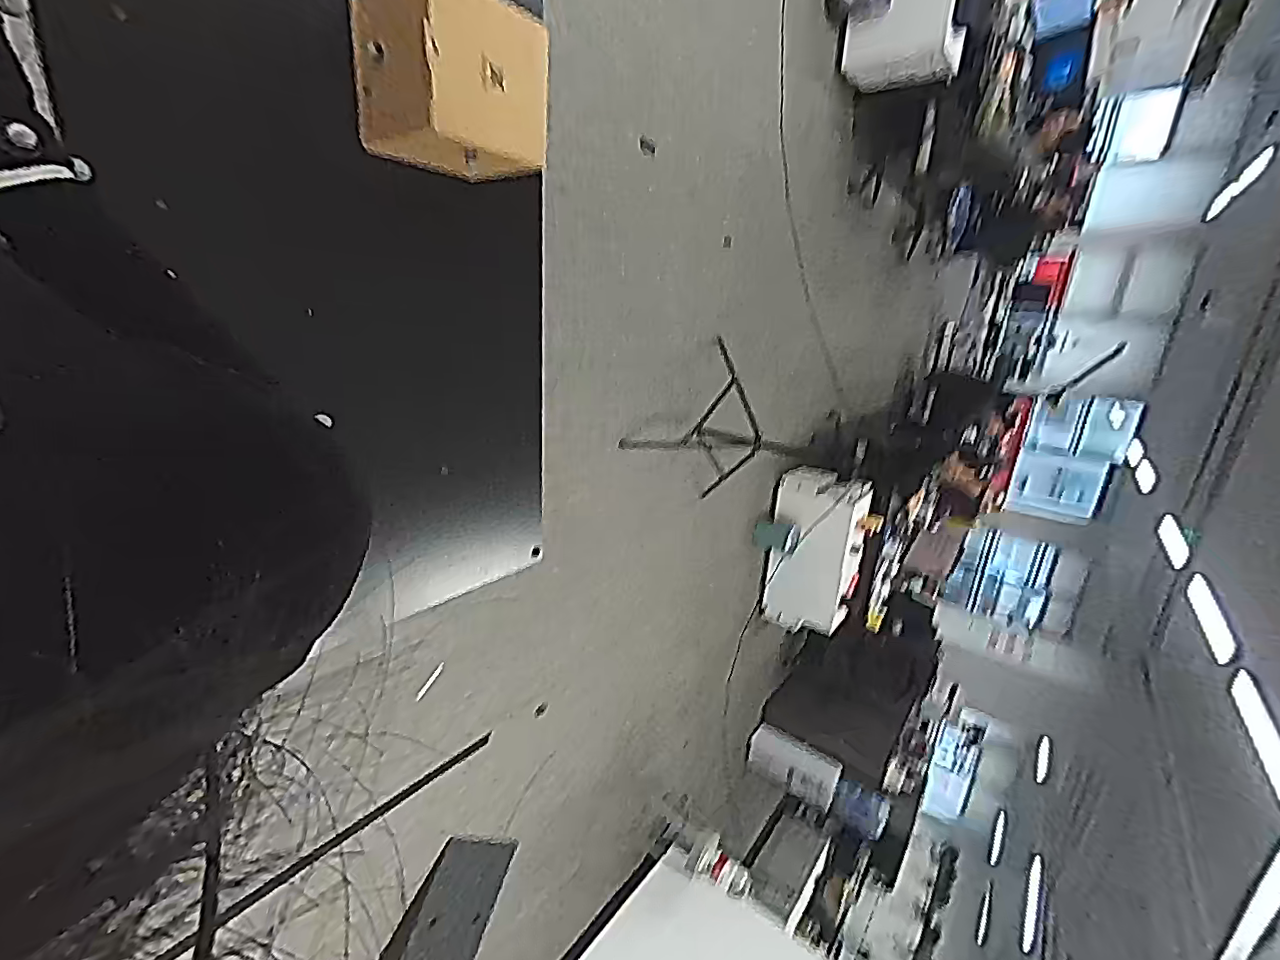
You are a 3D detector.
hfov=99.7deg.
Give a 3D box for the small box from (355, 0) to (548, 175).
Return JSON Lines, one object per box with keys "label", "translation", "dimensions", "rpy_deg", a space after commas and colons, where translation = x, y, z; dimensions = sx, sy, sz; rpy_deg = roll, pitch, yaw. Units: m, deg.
{"label": "small box", "translation": [-0.243, -0.513, 0.710], "dimensions": [0.179, 0.176, 0.168], "rpy_deg": [-17, 116, -49]}
